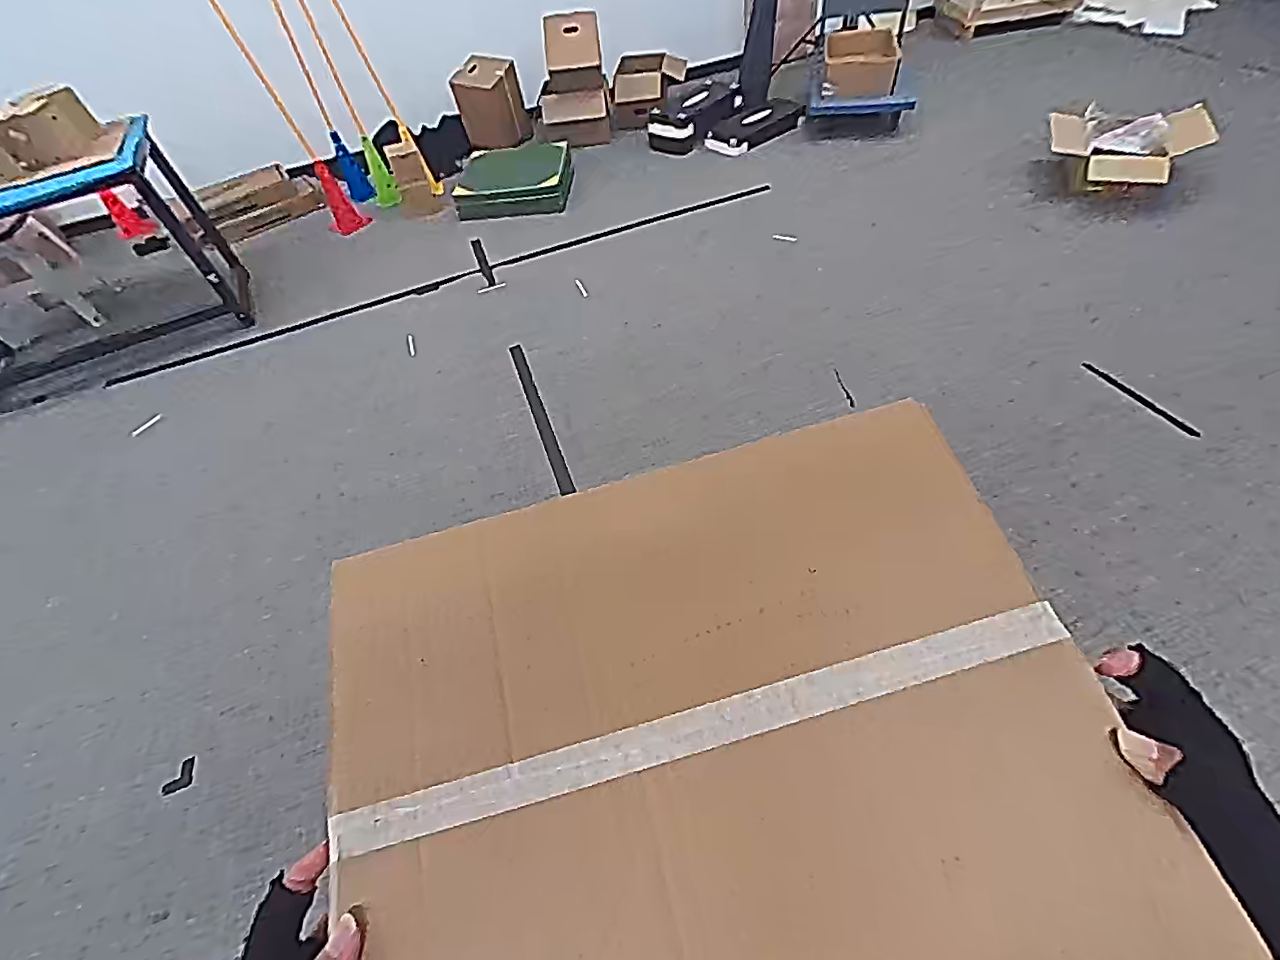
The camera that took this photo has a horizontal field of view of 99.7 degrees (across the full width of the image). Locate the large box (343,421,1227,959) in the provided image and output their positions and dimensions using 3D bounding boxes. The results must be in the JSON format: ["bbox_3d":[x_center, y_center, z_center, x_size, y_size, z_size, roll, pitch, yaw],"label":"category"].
[{"bbox_3d":[0.050,0.209,0.430,0.408,0.320,0.320,-16,62,-2],"label":"large box"}]
